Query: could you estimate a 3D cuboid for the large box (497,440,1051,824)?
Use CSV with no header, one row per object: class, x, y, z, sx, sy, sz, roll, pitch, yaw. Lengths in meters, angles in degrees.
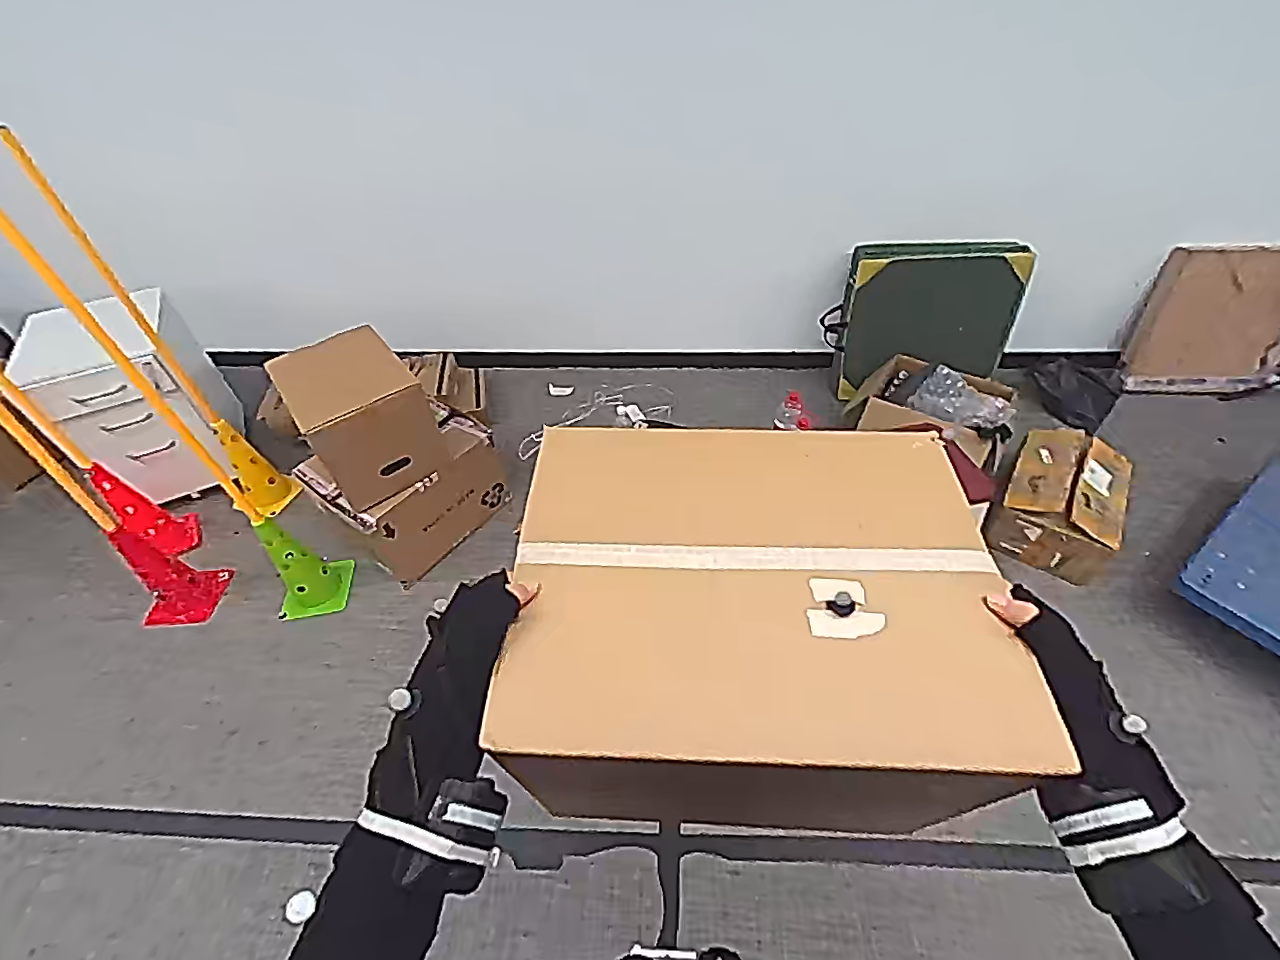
large box,0.098,0.171,0.592,0.408,0.320,0.320,1,50,2
